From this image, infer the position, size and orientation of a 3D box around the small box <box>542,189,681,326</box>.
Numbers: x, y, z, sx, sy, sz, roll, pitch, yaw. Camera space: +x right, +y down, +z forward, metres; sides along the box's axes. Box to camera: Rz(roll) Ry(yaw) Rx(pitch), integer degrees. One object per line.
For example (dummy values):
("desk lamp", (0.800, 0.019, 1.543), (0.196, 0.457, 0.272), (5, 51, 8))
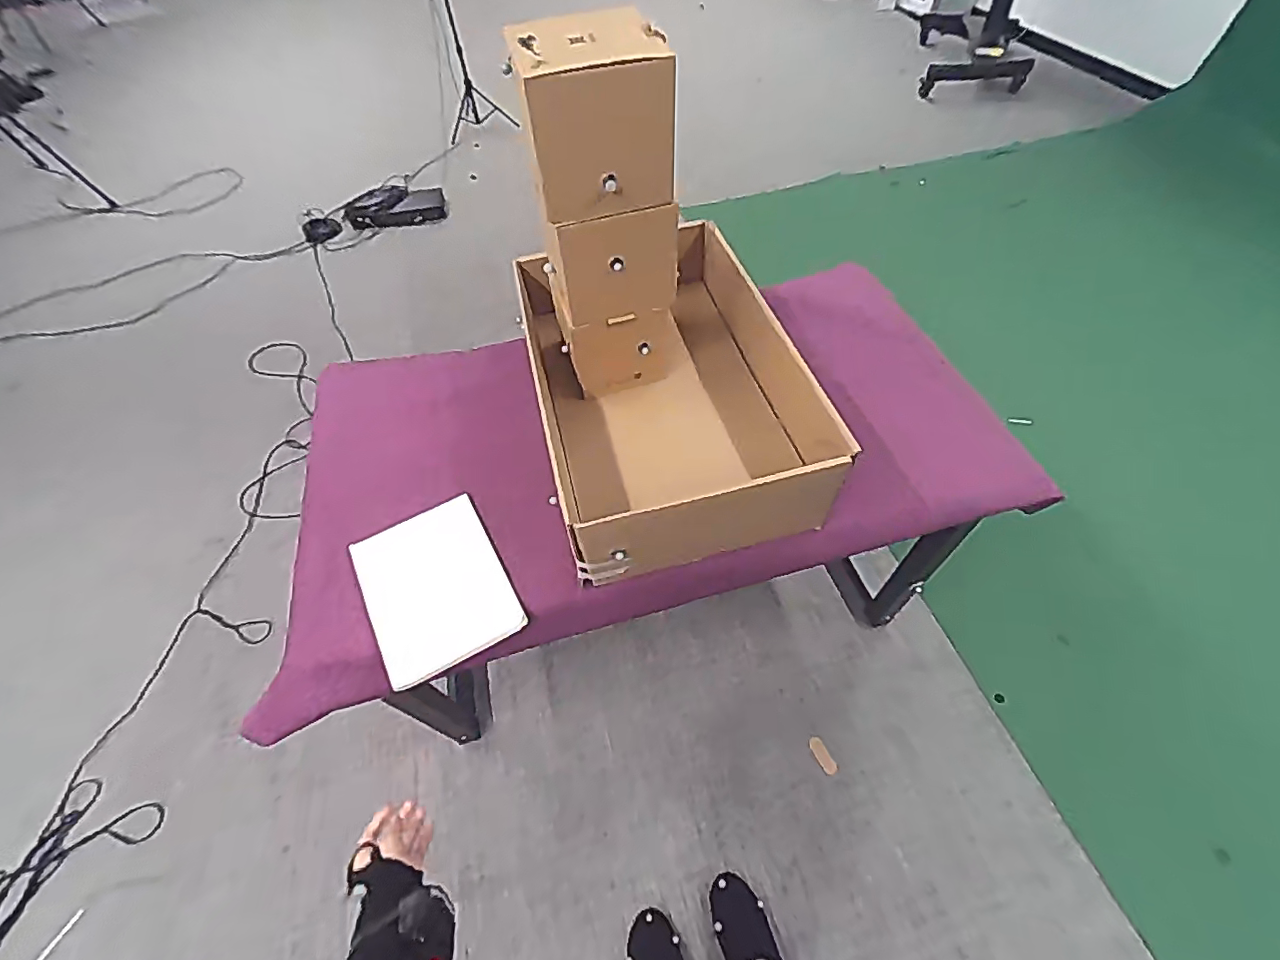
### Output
("small box", (-0.048, -0.367, 0.834), (0.179, 0.176, 0.168), (-16, 56, -8))

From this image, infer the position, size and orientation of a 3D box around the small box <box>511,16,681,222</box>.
("small box", (-0.057, -0.463, 0.701), (0.179, 0.176, 0.168), (-13, 55, -8))
